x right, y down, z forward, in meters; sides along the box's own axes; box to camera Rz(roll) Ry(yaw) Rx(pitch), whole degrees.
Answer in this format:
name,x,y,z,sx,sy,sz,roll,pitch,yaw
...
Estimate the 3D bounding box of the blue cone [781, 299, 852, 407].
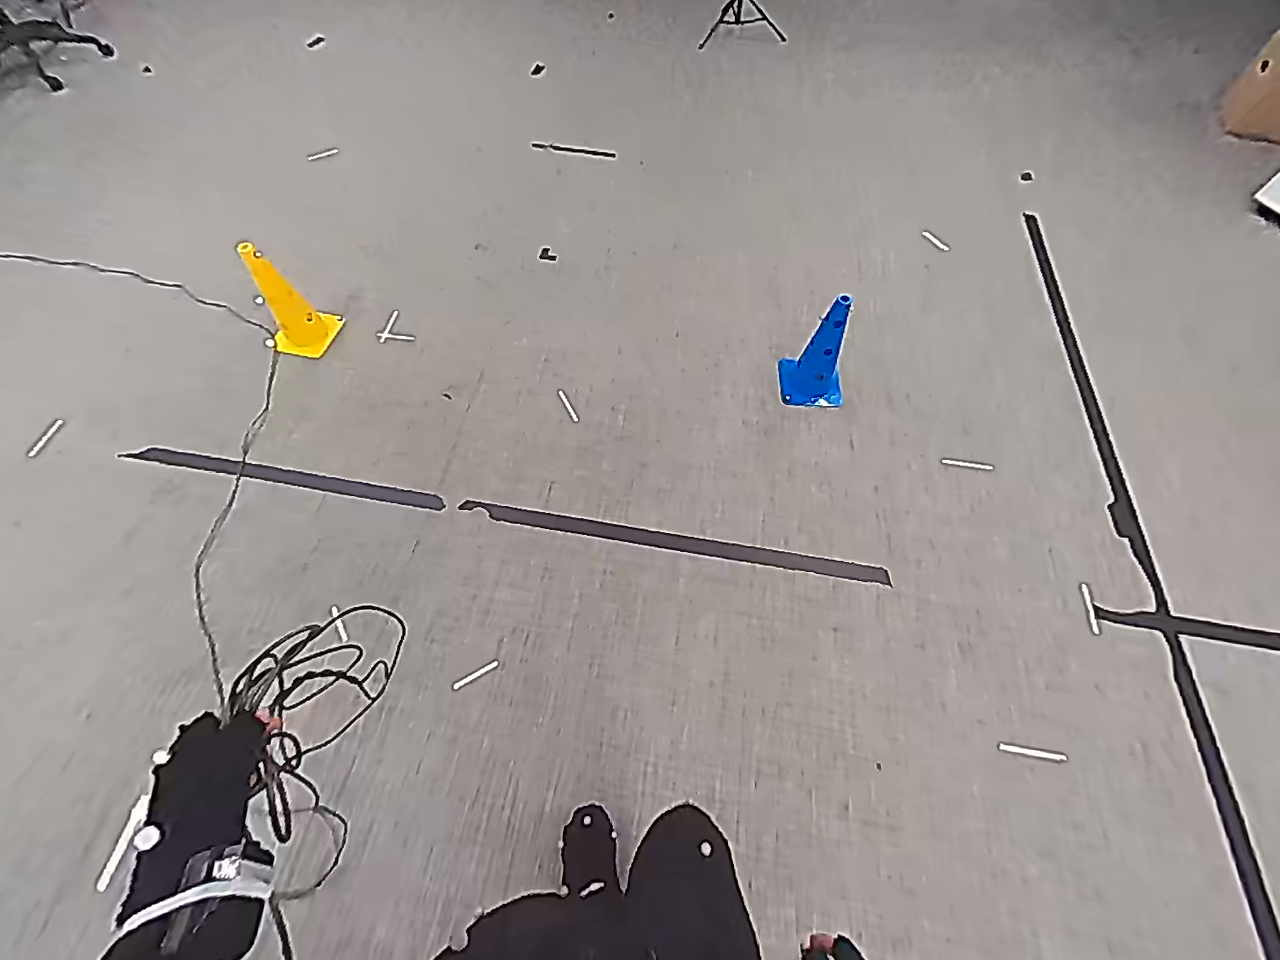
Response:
name,x,y,z,sx,sy,sz,roll,pitch,yaw
blue cone,0.569,-0.408,1.663,0.193,0.380,0.192,4,61,2
